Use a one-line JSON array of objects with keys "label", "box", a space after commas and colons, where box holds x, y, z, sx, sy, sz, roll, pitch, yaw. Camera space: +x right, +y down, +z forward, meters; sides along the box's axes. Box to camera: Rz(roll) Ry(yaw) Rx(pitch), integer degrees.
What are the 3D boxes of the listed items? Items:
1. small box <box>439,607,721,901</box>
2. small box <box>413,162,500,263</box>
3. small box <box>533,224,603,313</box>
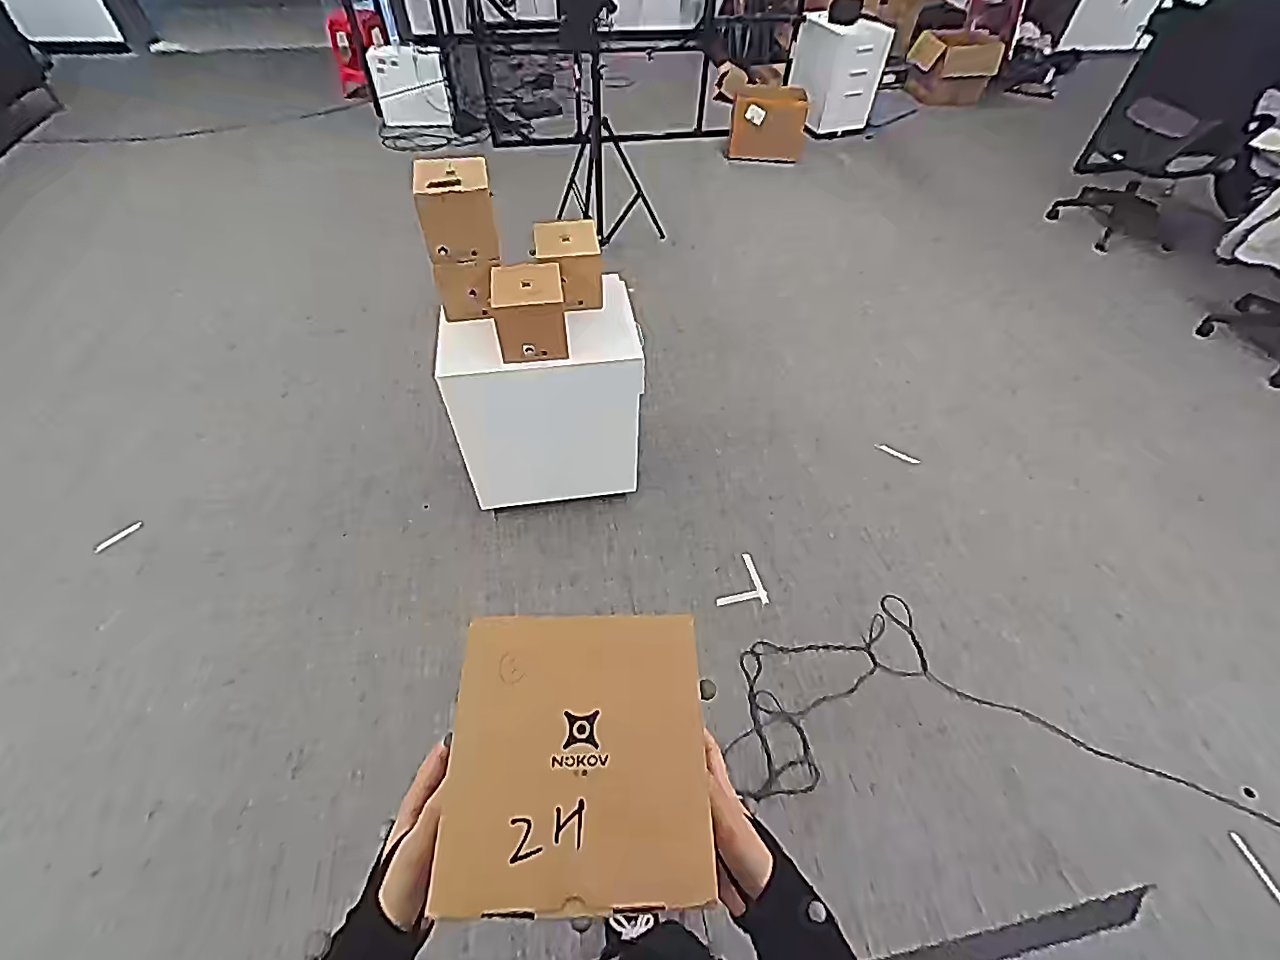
[{"label": "small box", "box": [-0.038, 0.213, 0.422, 0.168, 0.176, 0.179, 0, 55, -2]}, {"label": "small box", "box": [-0.441, -0.644, 1.314, 0.168, 0.176, 0.179, -9, 53, -10]}, {"label": "small box", "box": [-0.195, -0.572, 1.477, 0.168, 0.176, 0.179, -7, 52, -6]}]
